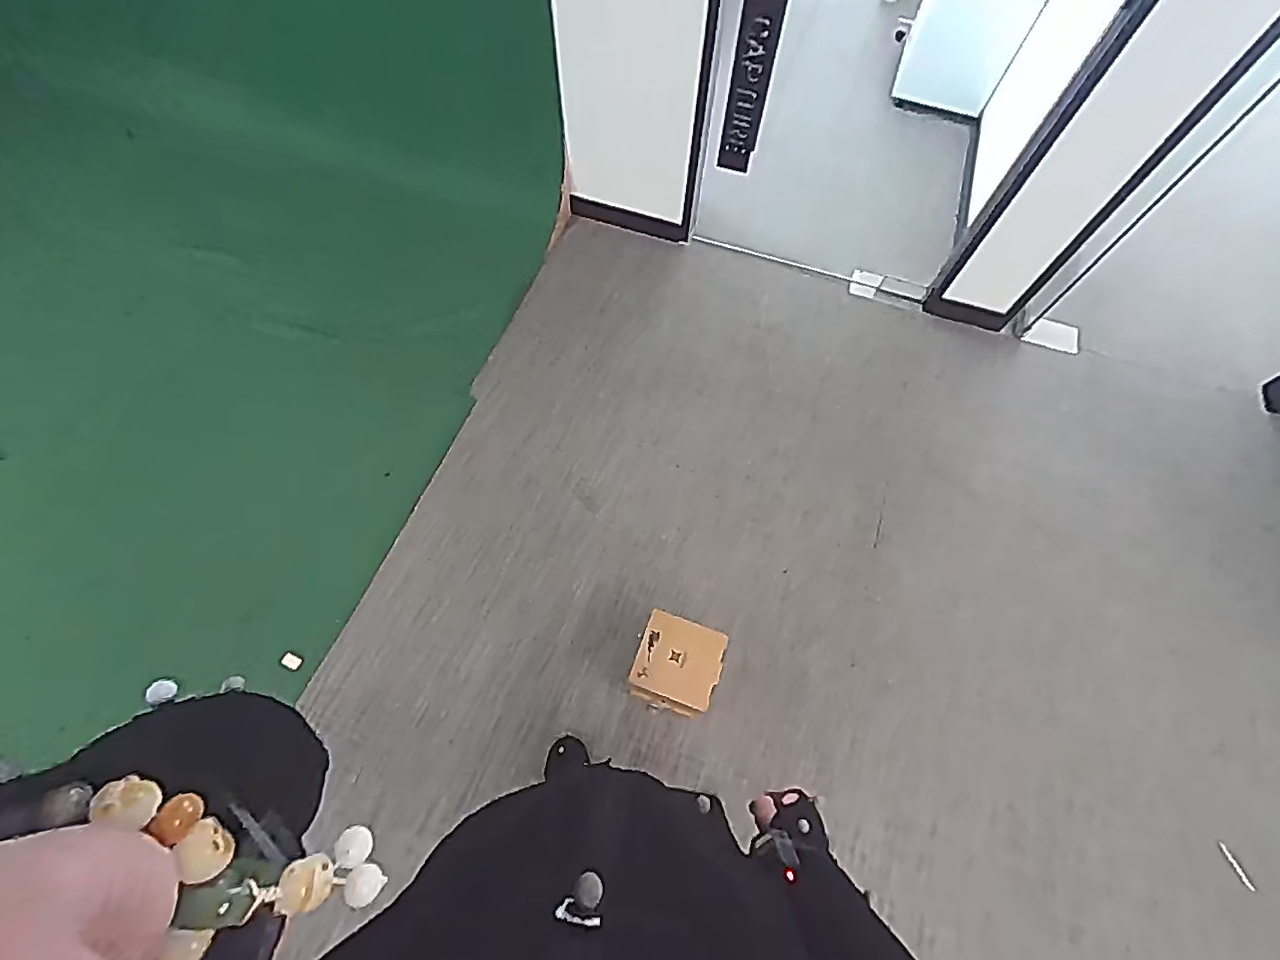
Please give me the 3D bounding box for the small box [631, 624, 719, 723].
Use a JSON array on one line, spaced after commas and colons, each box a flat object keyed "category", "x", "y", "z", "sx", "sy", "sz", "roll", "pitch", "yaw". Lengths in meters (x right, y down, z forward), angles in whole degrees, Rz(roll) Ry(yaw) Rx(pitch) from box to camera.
[{"category": "small box", "x": 0.082, "y": 0.487, "z": 1.347, "sx": 0.168, "sy": 0.176, "sz": 0.179, "roll": 20, "pitch": 66, "yaw": 10}]
